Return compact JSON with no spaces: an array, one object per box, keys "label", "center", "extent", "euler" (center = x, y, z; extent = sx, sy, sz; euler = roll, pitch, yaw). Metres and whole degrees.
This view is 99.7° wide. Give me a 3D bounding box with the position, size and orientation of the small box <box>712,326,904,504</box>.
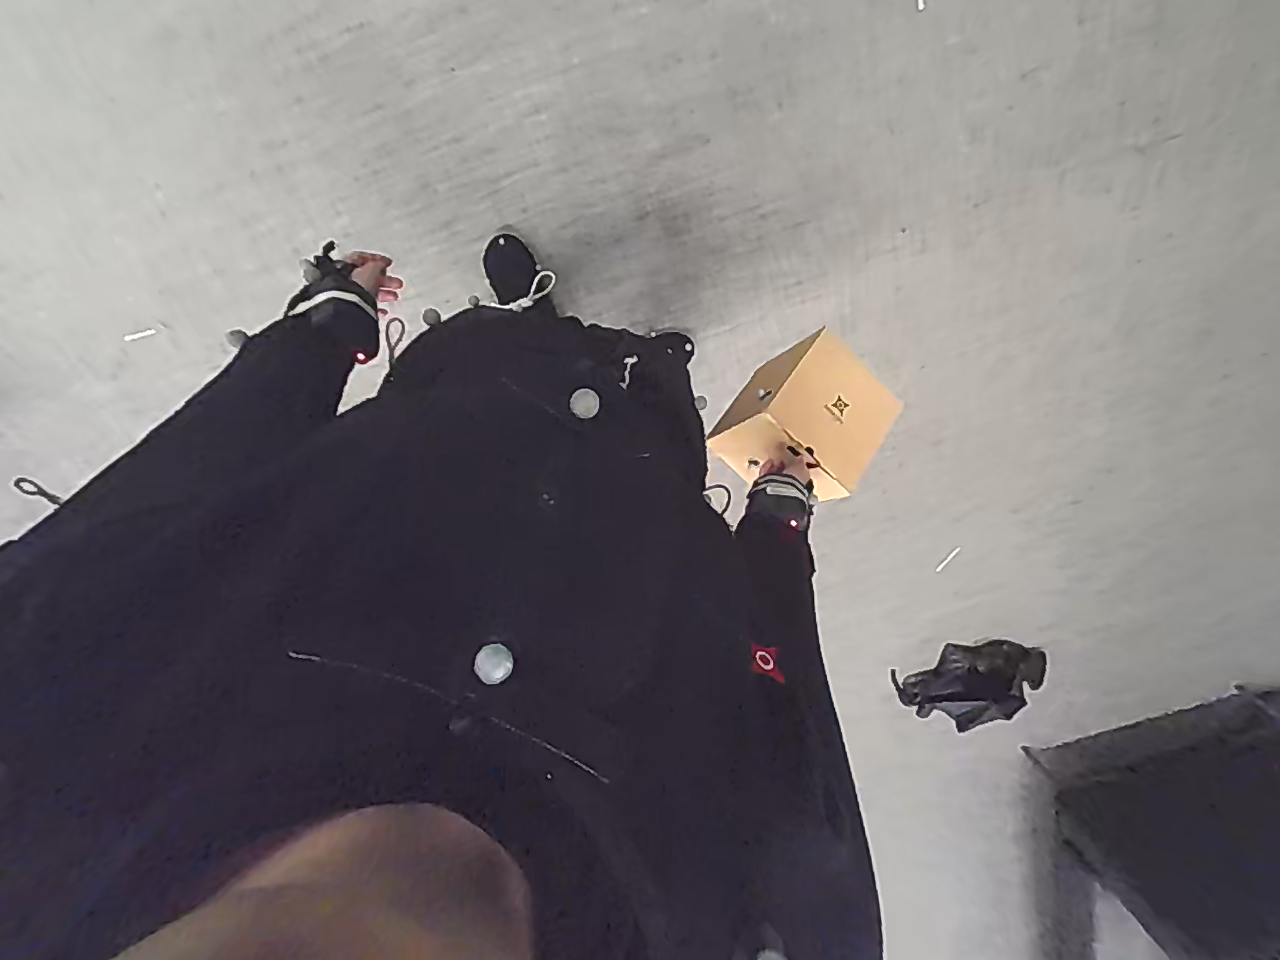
[{"label":"small box","center":[0.235,-0.084,0.788],"extent":[0.168,0.176,0.179],"euler":[42,70,-10]}]
